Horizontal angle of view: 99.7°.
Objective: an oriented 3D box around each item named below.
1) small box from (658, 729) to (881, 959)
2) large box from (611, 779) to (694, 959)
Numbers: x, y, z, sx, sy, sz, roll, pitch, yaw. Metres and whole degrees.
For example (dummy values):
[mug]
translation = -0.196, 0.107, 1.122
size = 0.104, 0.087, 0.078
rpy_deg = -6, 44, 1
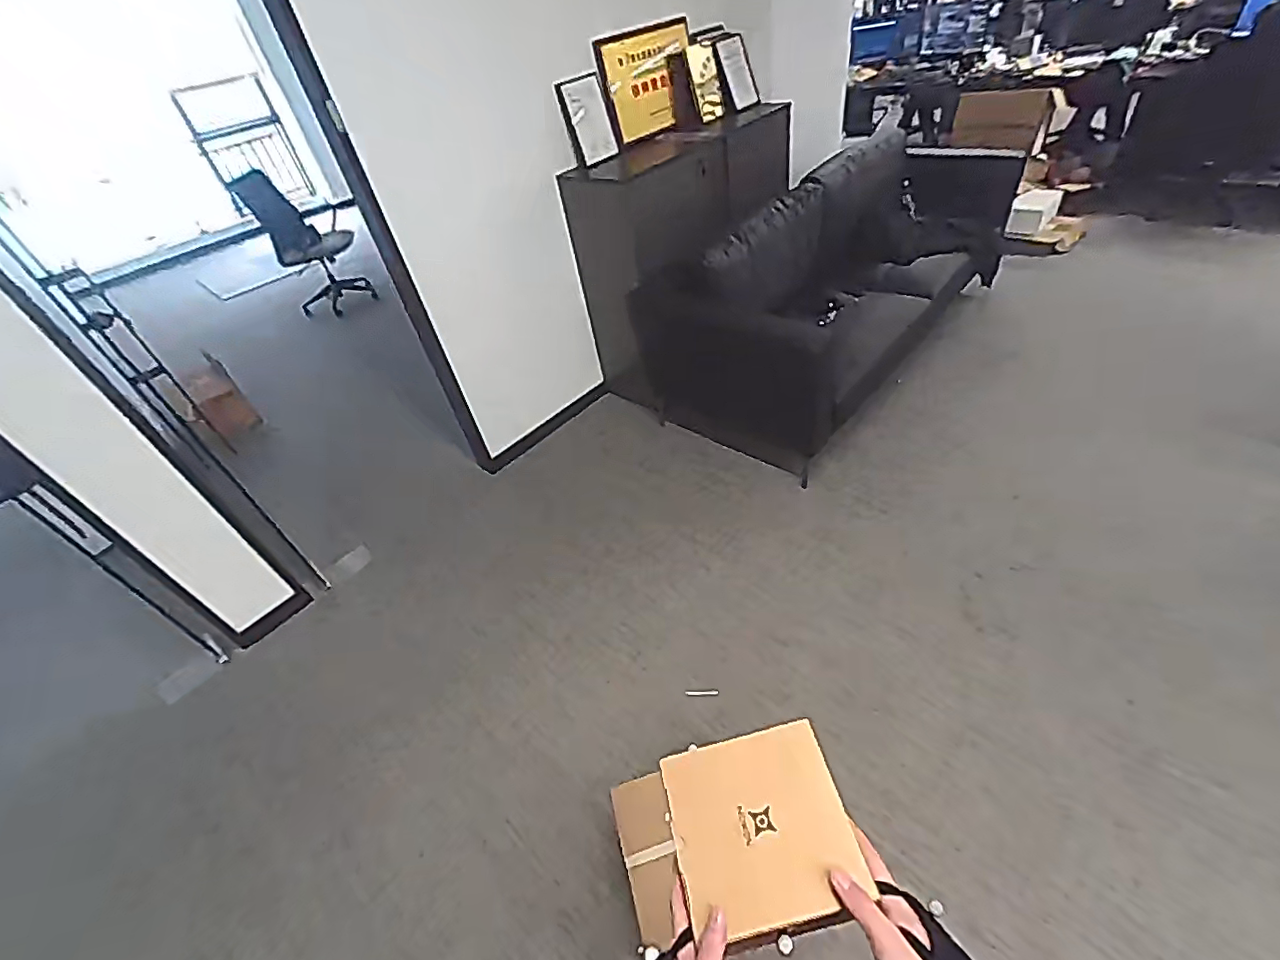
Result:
[small box]
translation = 0.132, 0.401, 0.590
size = 0.179, 0.176, 0.168
rpy_deg = -16, 46, 1
[large box]
translation = 0.186, 0.870, 1.243
size = 0.408, 0.320, 0.320
rpy_deg = -17, 41, -5
